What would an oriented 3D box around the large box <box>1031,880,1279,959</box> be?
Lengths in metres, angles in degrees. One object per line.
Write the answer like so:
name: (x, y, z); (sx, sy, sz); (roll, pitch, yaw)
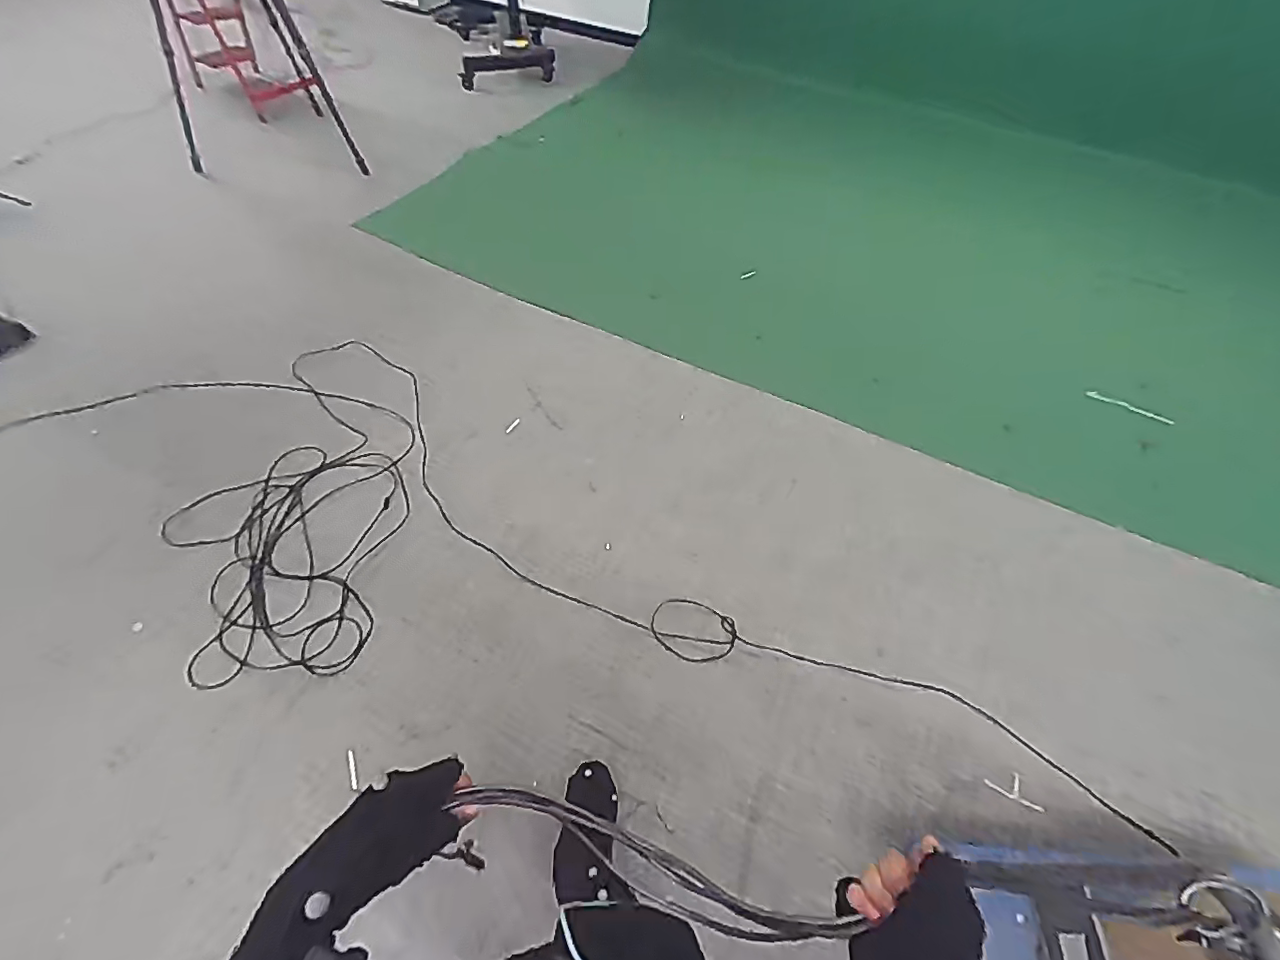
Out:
large box: (0.933, 0.896, 0.812); (0.320, 0.320, 0.408); (-13, 56, -13)
